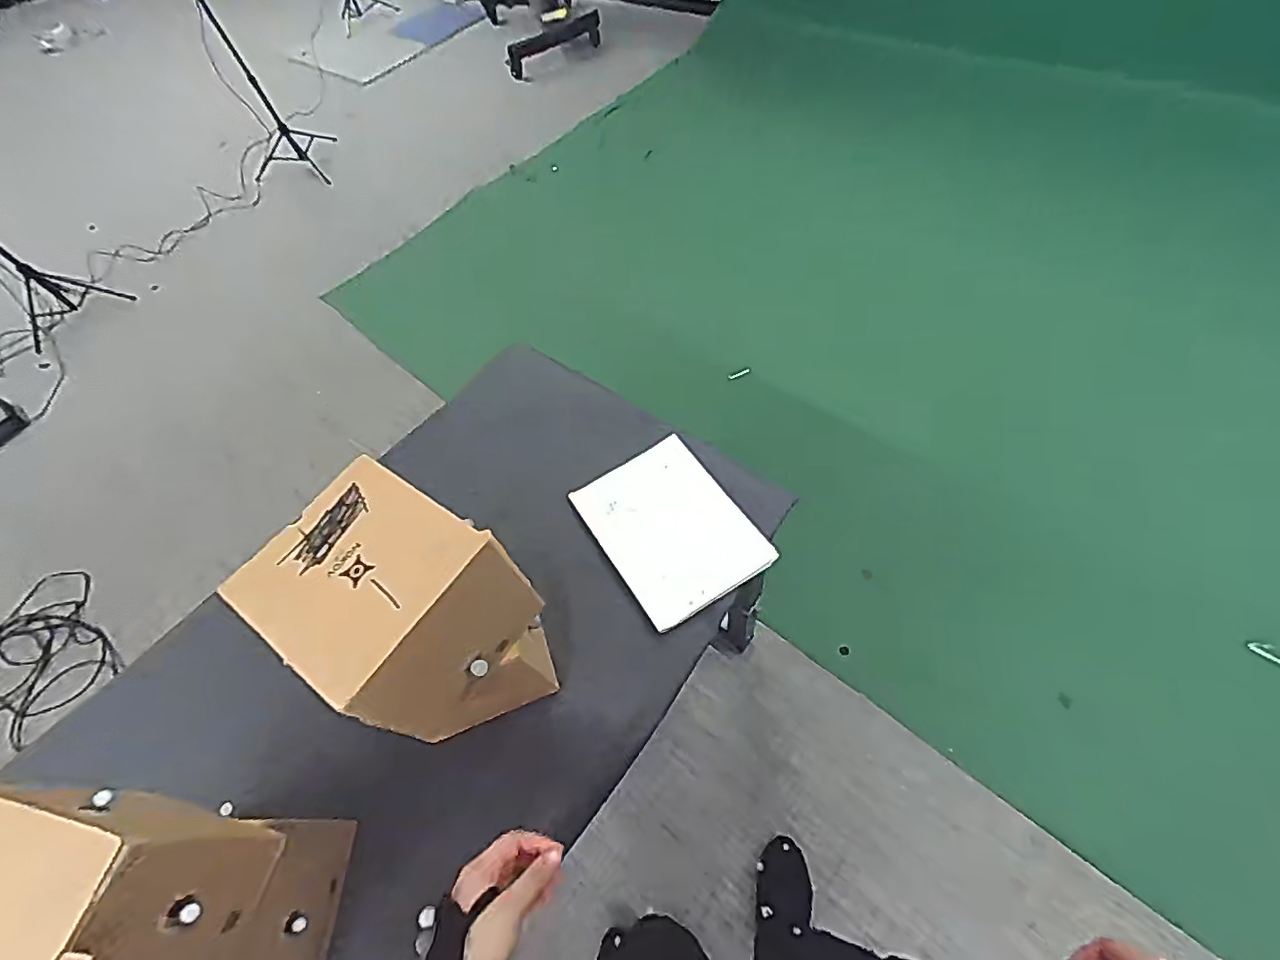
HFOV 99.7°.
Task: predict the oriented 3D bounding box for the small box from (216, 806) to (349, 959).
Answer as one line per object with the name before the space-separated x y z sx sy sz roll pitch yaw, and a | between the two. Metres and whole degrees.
small box | -0.433 0.427 0.545 0.179 0.176 0.168 -3 58 6

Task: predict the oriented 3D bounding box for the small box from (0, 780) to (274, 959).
small box | -0.435 0.336 0.409 0.179 0.176 0.168 7 59 12

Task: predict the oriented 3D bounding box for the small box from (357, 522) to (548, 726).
small box | -0.223 0.182 0.664 0.179 0.176 0.168 -22 59 -4

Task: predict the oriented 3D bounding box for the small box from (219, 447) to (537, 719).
small box | -0.230 0.105 0.518 0.179 0.176 0.168 29 68 22
